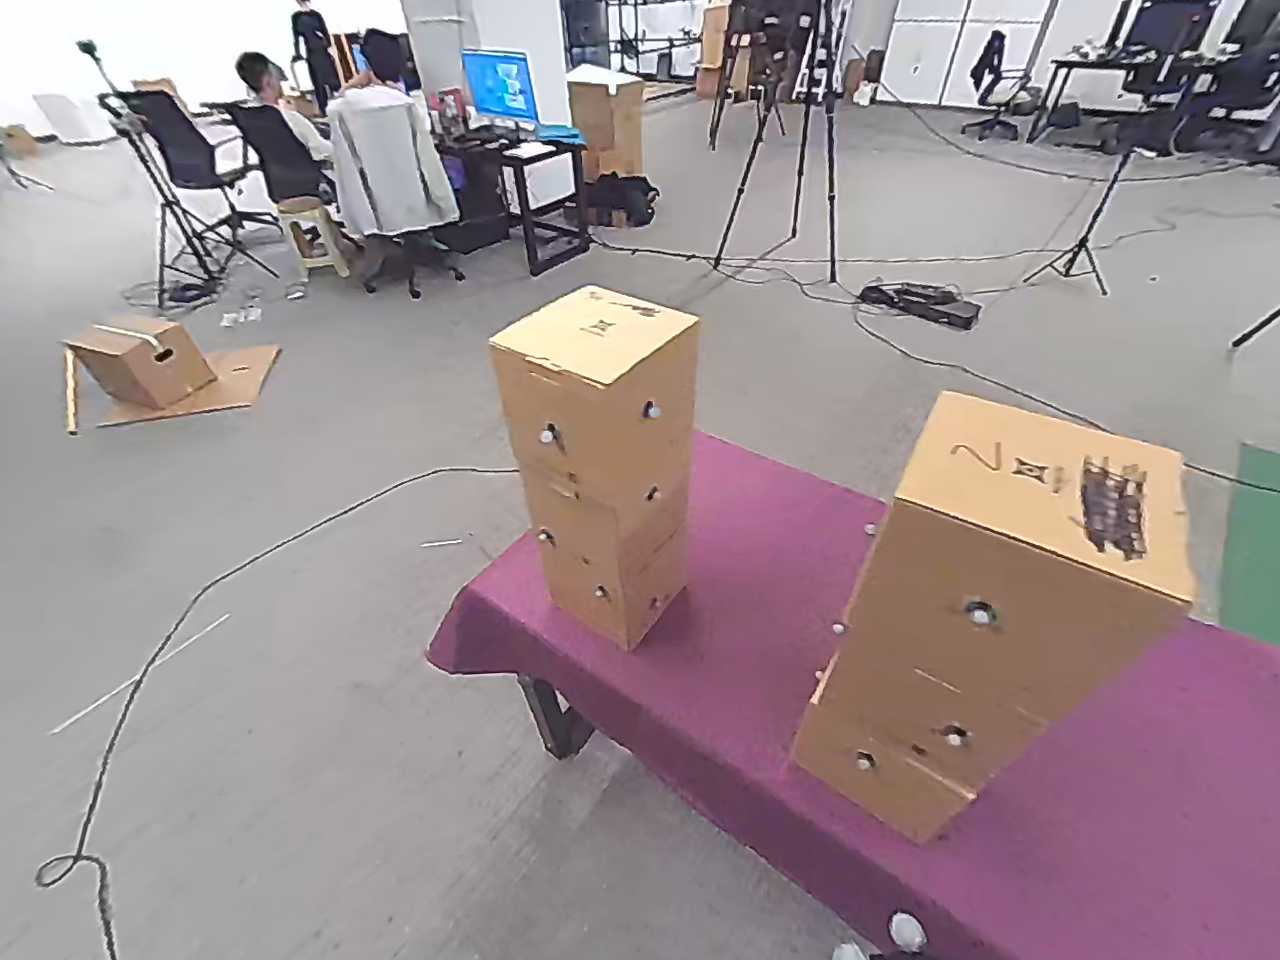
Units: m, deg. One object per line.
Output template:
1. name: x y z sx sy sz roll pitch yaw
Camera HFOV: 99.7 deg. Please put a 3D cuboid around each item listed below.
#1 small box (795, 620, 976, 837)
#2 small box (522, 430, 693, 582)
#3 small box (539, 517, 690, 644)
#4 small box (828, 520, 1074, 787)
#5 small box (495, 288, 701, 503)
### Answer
1. small box: 0.315 0.304 0.680 0.179 0.176 0.168 27 50 27
2. small box: -0.039 0.012 0.769 0.168 0.176 0.179 26 48 25
3. small box: -0.038 0.133 0.880 0.179 0.176 0.168 26 49 25
4. small box: 0.315 0.181 0.574 0.168 0.176 0.179 25 48 26
5. small box: -0.041 -0.102 0.651 0.168 0.176 0.179 27 50 25
